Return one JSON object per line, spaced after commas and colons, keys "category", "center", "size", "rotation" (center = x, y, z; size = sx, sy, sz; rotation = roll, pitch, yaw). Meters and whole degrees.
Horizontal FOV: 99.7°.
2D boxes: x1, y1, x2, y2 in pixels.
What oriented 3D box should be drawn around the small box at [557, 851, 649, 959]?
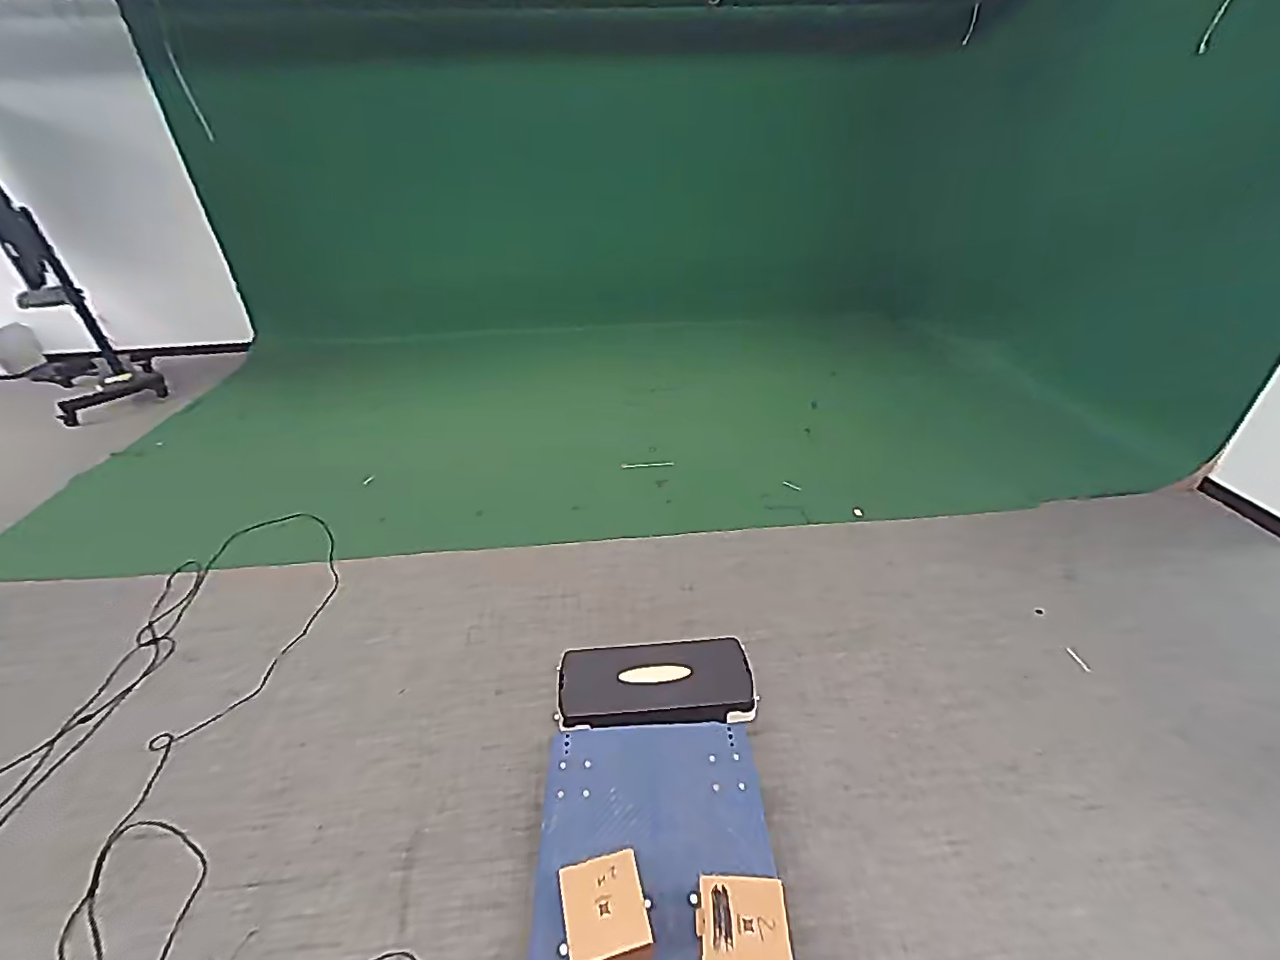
{"category": "small box", "center": [-0.078, 0.940, 1.151], "size": [0.168, 0.176, 0.179], "rotation": [-8, 34, -12]}
